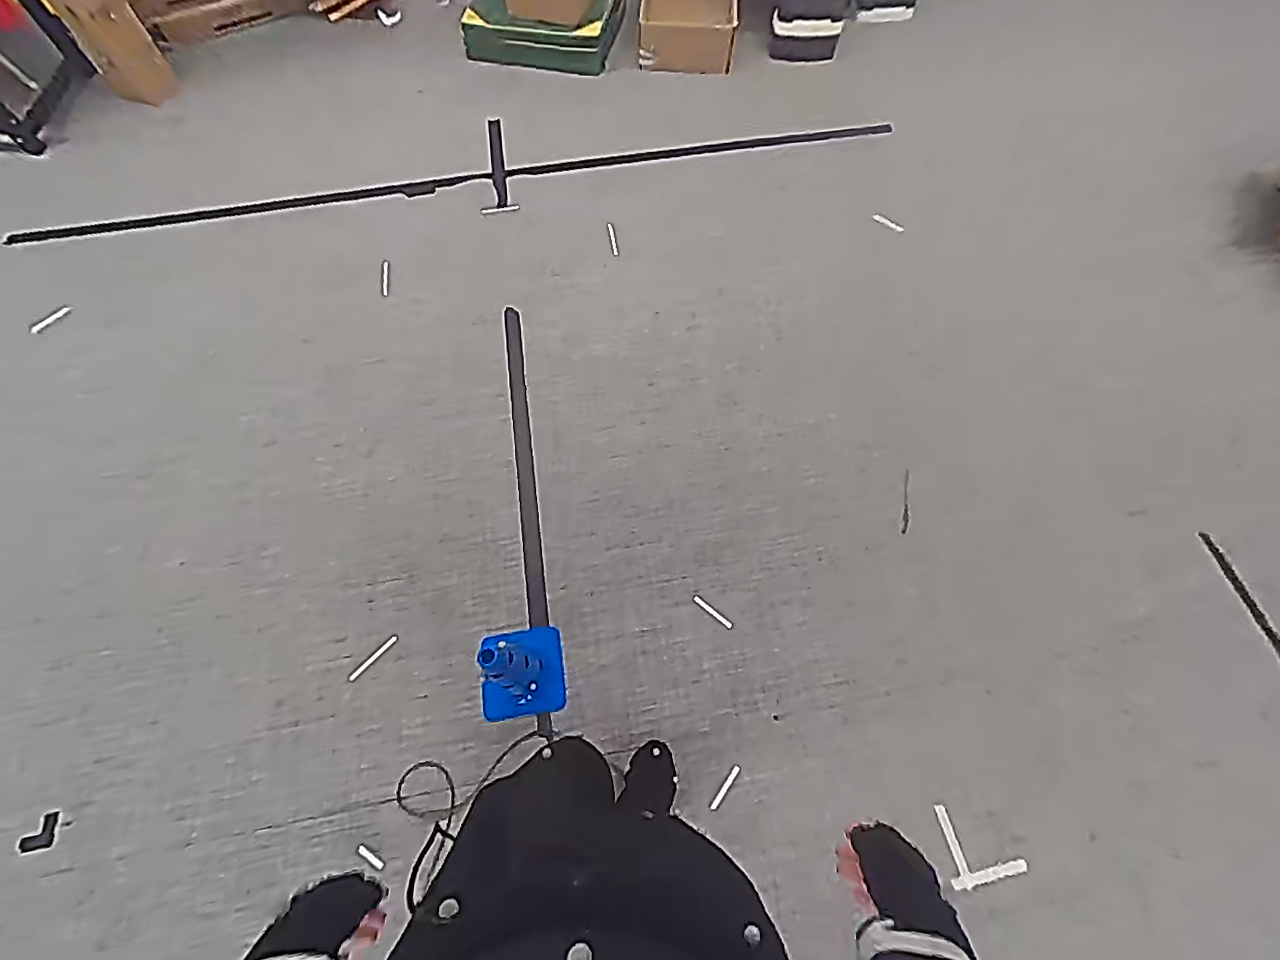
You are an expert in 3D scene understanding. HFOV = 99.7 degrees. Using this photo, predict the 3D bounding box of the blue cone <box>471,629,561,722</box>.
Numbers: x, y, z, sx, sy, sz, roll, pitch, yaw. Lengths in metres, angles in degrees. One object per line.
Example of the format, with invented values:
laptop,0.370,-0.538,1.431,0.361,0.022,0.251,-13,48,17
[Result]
blue cone,-0.290,0.404,1.153,0.193,0.380,0.192,-10,66,-4
